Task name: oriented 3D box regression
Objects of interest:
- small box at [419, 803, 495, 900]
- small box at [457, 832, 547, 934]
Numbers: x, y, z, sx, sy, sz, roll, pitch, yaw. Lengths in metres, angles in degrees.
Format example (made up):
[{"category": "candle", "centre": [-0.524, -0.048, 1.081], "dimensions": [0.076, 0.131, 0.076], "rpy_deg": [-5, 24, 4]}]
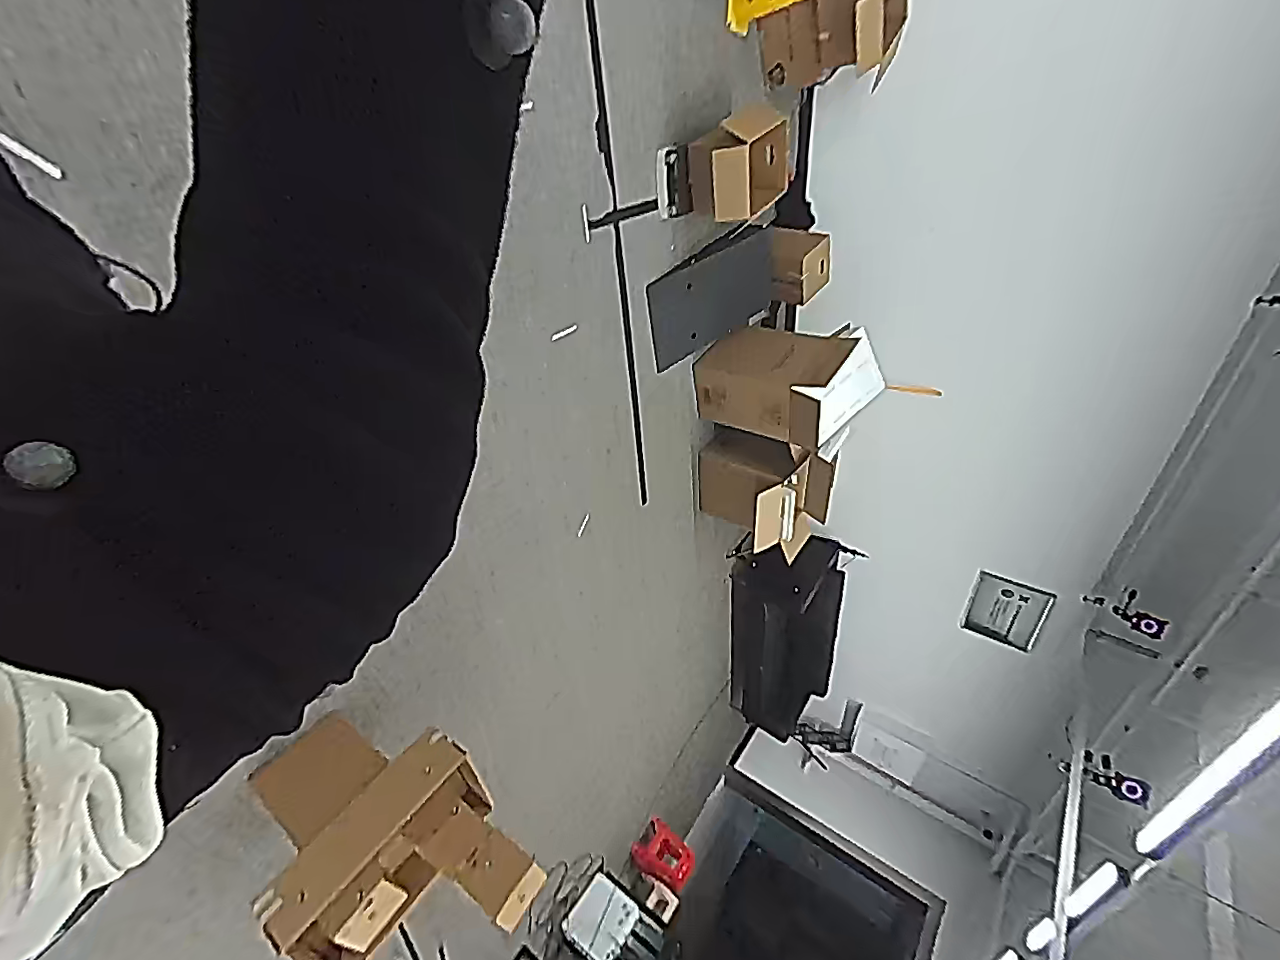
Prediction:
[{"category": "small box", "centre": [-0.550, 1.142, 1.674], "dimensions": [0.168, 0.176, 0.179], "rpy_deg": [-45, 142, -36]}, {"category": "small box", "centre": [-0.407, 1.189, 1.604], "dimensions": [0.168, 0.176, 0.179], "rpy_deg": [-46, 143, -35]}]
